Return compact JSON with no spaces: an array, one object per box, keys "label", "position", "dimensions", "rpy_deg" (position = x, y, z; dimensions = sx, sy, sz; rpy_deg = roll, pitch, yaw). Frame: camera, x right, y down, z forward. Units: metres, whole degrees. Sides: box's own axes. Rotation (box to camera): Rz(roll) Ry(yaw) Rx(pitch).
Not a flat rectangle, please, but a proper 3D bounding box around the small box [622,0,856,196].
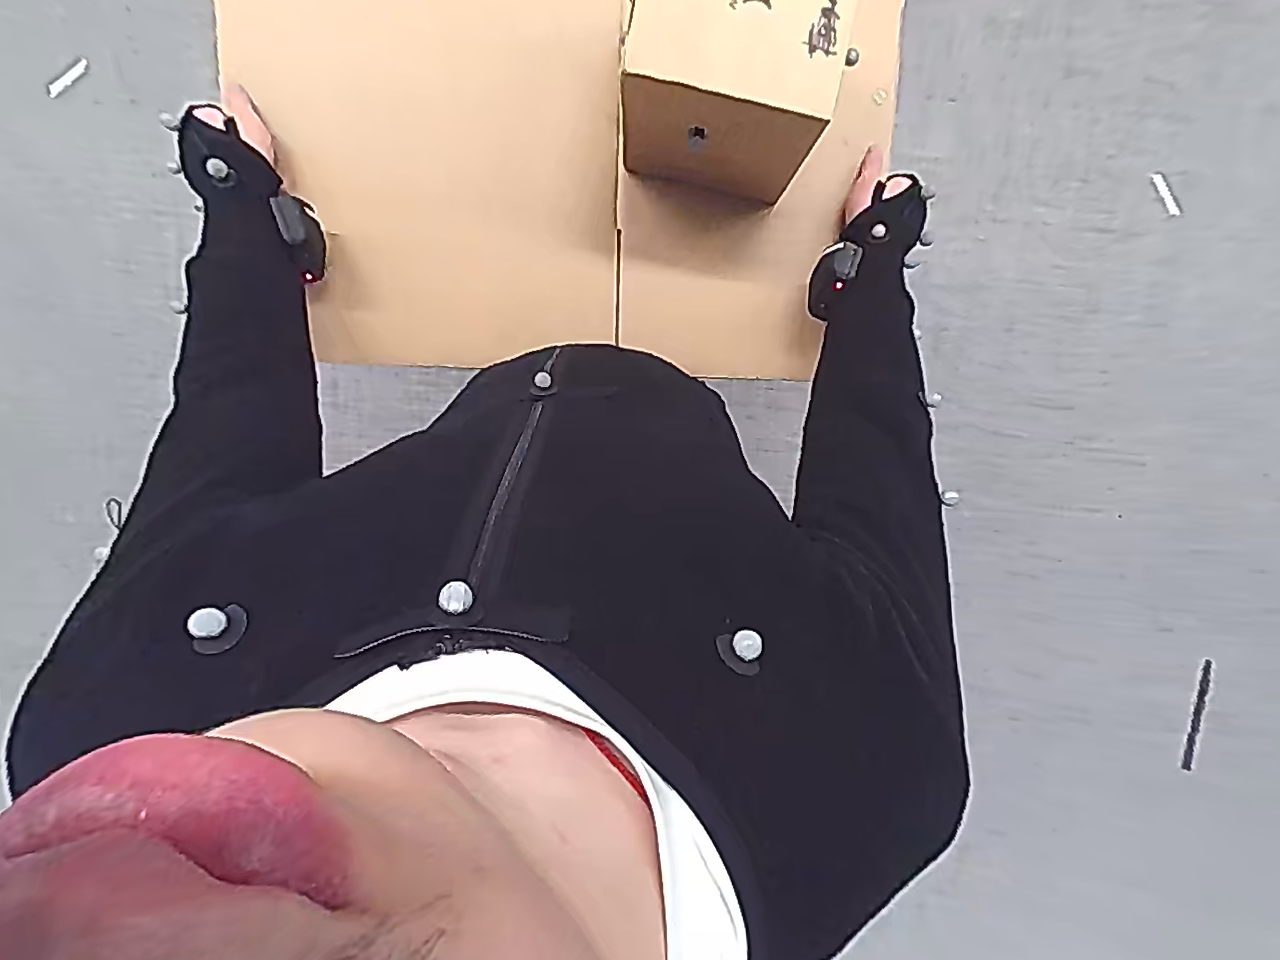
[{"label":"small box","position":[0.087,-0.397,0.512],"dimensions":[0.179,0.176,0.168],"rpy_deg":[12,96,-1]}]
